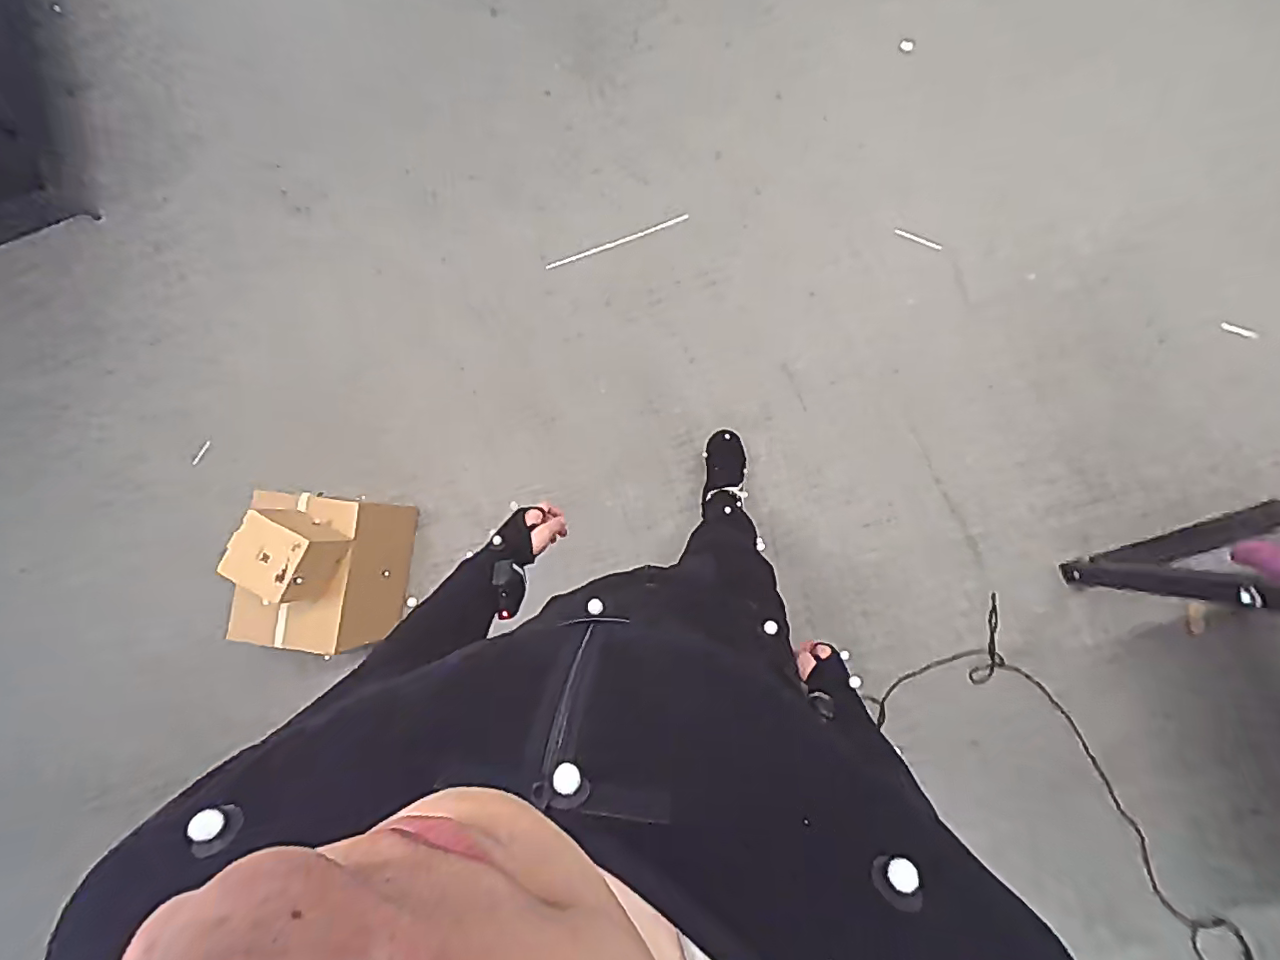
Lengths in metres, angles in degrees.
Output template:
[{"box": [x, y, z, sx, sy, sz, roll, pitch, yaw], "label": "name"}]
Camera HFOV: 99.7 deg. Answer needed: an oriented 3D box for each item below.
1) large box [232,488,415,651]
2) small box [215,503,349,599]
[{"box": [-0.891, 0.240, 1.565, 0.320, 0.320, 0.408, 6, 87, 7], "label": "large box"}, {"box": [-0.862, 0.171, 1.320, 0.179, 0.176, 0.168, 27, 88, 7], "label": "small box"}]
